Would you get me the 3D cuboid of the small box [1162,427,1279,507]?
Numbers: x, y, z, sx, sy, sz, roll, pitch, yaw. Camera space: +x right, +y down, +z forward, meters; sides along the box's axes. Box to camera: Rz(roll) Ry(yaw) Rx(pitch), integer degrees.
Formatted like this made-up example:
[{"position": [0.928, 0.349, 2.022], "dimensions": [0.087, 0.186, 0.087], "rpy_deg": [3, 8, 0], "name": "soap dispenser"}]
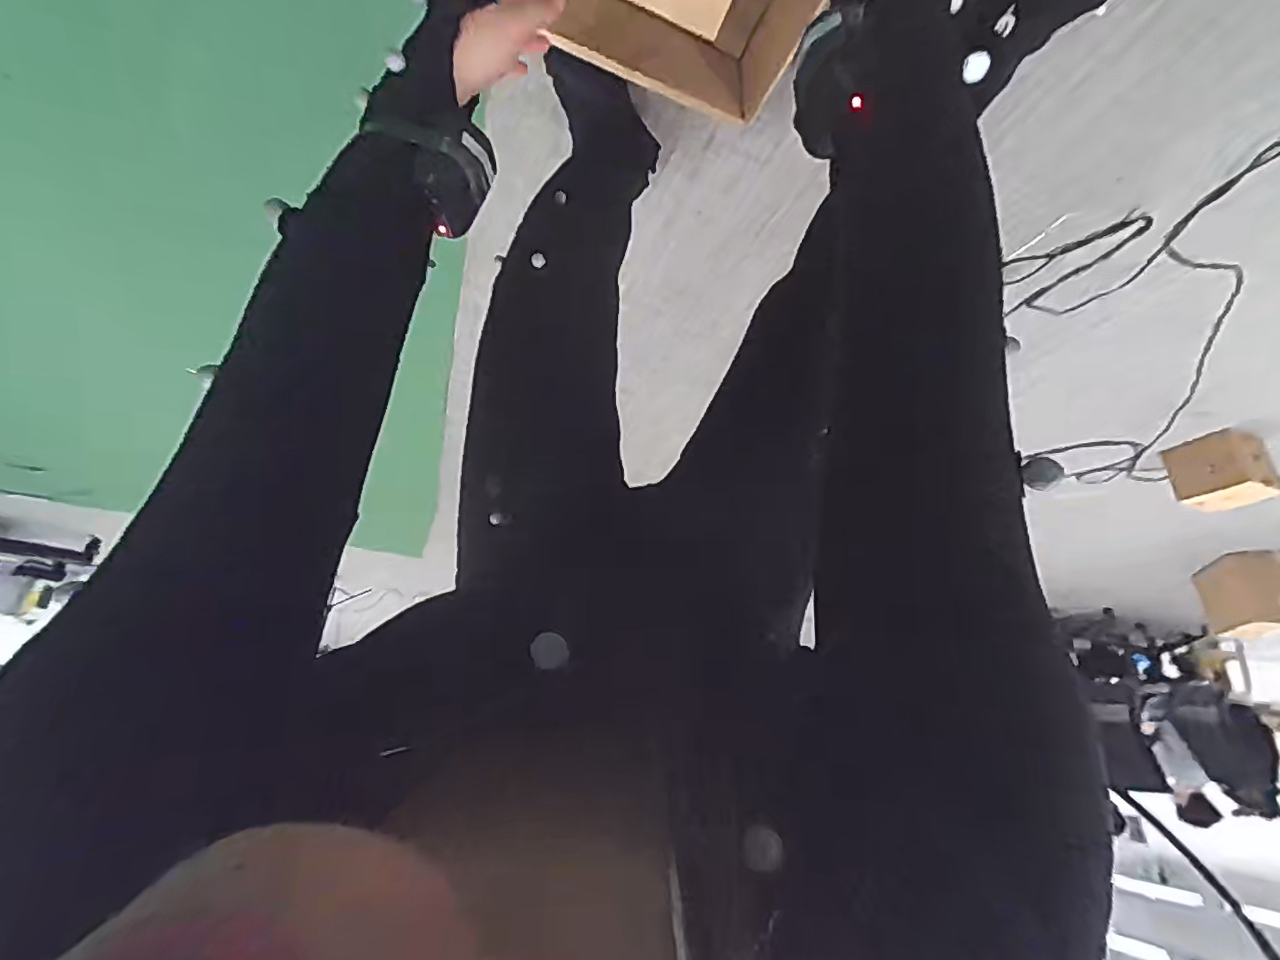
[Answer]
[{"position": [1.719, -0.039, 1.600], "dimensions": [0.168, 0.176, 0.179], "rpy_deg": [11, 153, -16], "name": "small box"}]
